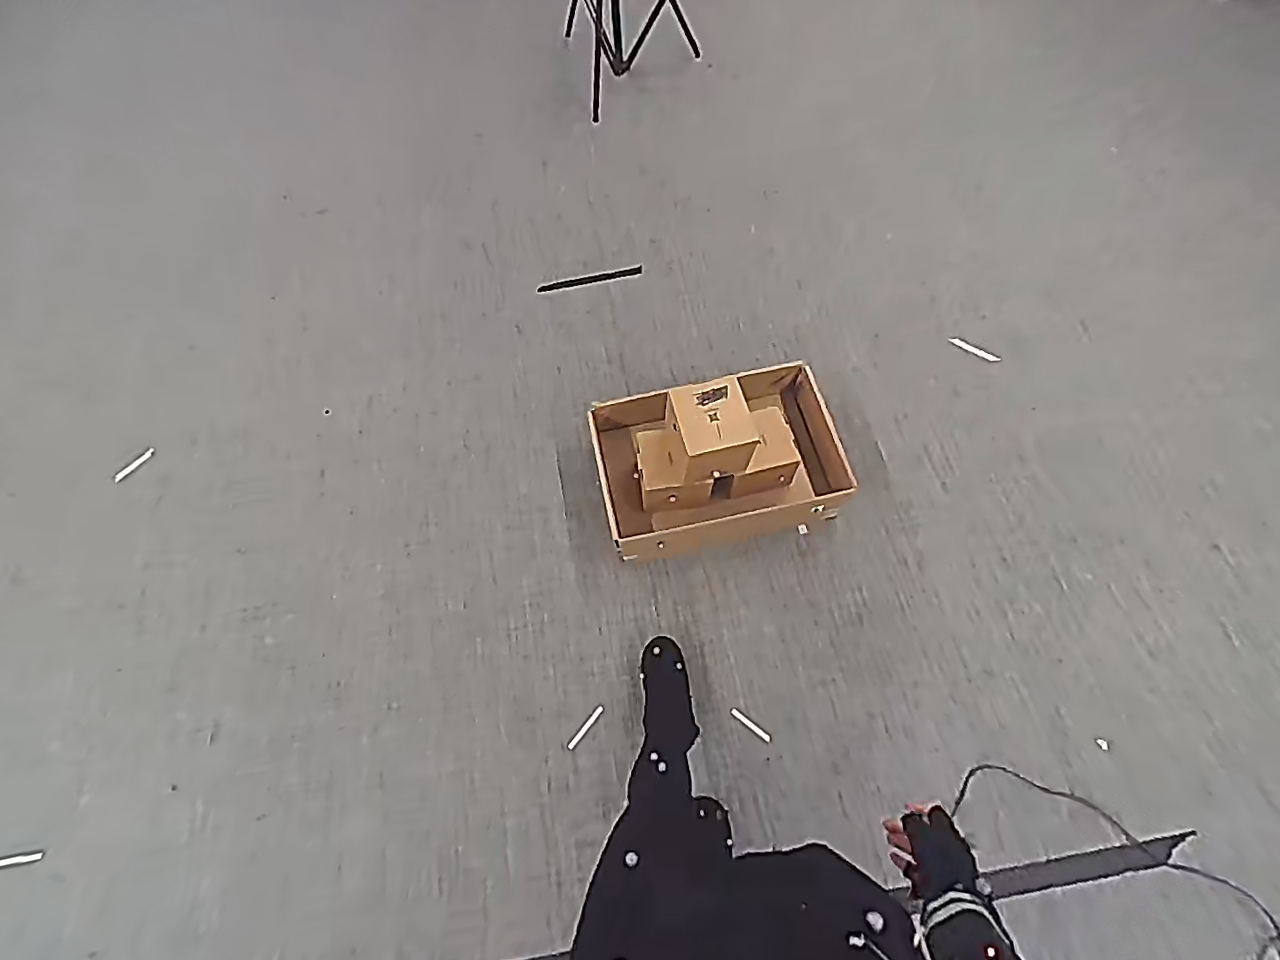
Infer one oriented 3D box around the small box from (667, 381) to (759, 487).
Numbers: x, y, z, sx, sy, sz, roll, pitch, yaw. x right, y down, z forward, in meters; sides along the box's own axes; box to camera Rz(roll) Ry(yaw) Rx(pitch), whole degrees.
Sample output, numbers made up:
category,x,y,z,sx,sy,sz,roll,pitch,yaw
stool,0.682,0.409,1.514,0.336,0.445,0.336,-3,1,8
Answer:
category,x,y,z,sx,sy,sz,roll,pitch,yaw
small box,0.165,-0.106,1.288,0.168,0.176,0.179,-13,67,-6
